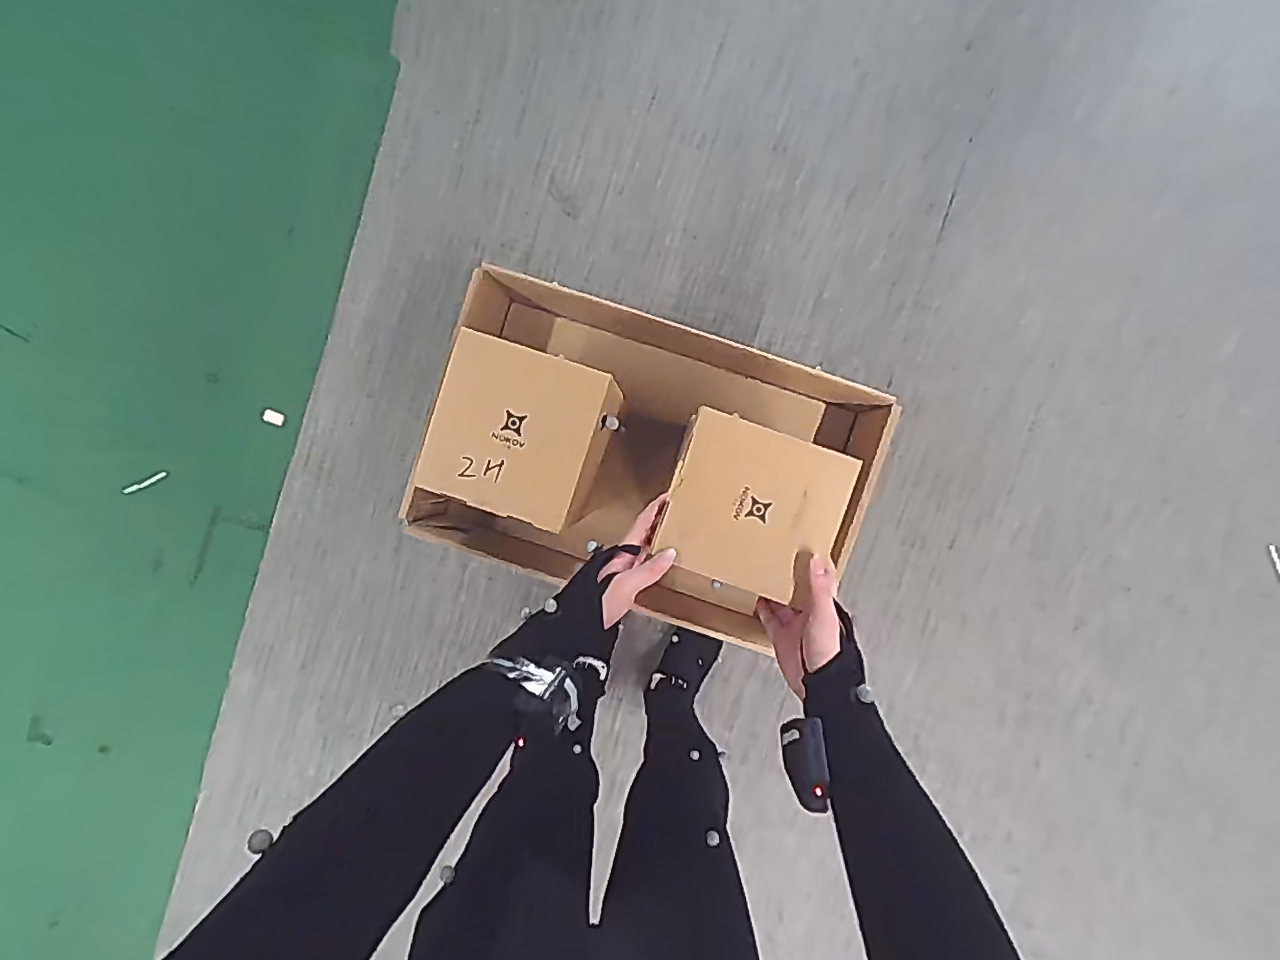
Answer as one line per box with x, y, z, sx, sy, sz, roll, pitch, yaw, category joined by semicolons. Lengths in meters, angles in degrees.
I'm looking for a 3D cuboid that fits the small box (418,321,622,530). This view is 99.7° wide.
-0.124;-0.058;0.632;0.168;0.176;0.179;19;92;1;small box

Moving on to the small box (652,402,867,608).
0.123;0.026;0.625;0.179;0.176;0.168;20;91;1;small box
